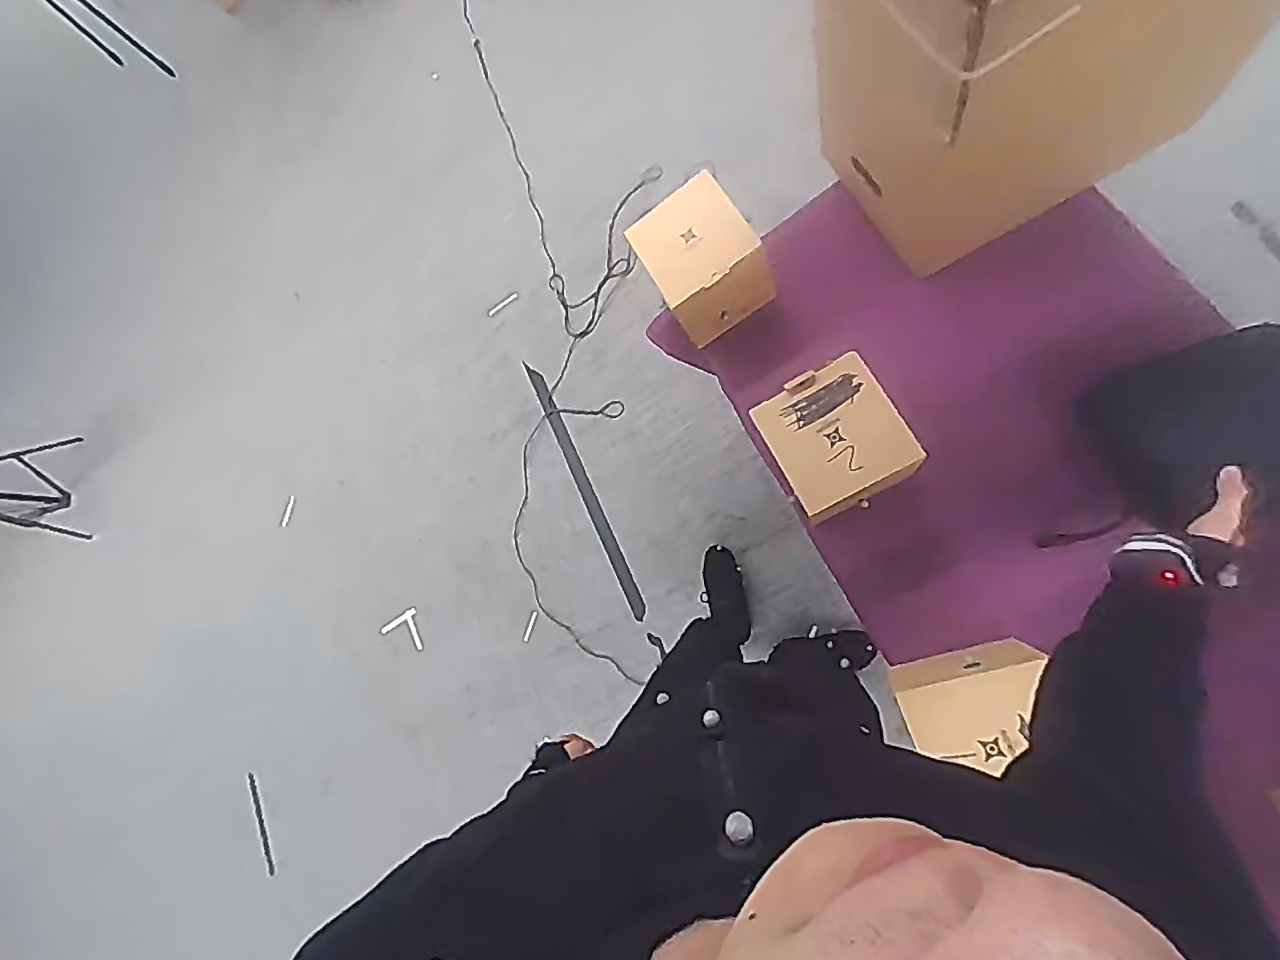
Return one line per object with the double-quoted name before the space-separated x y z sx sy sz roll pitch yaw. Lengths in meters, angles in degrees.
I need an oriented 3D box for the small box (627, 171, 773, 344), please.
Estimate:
"small box" 0.109 -0.367 0.924 0.168 0.176 0.179 -33 73 13
